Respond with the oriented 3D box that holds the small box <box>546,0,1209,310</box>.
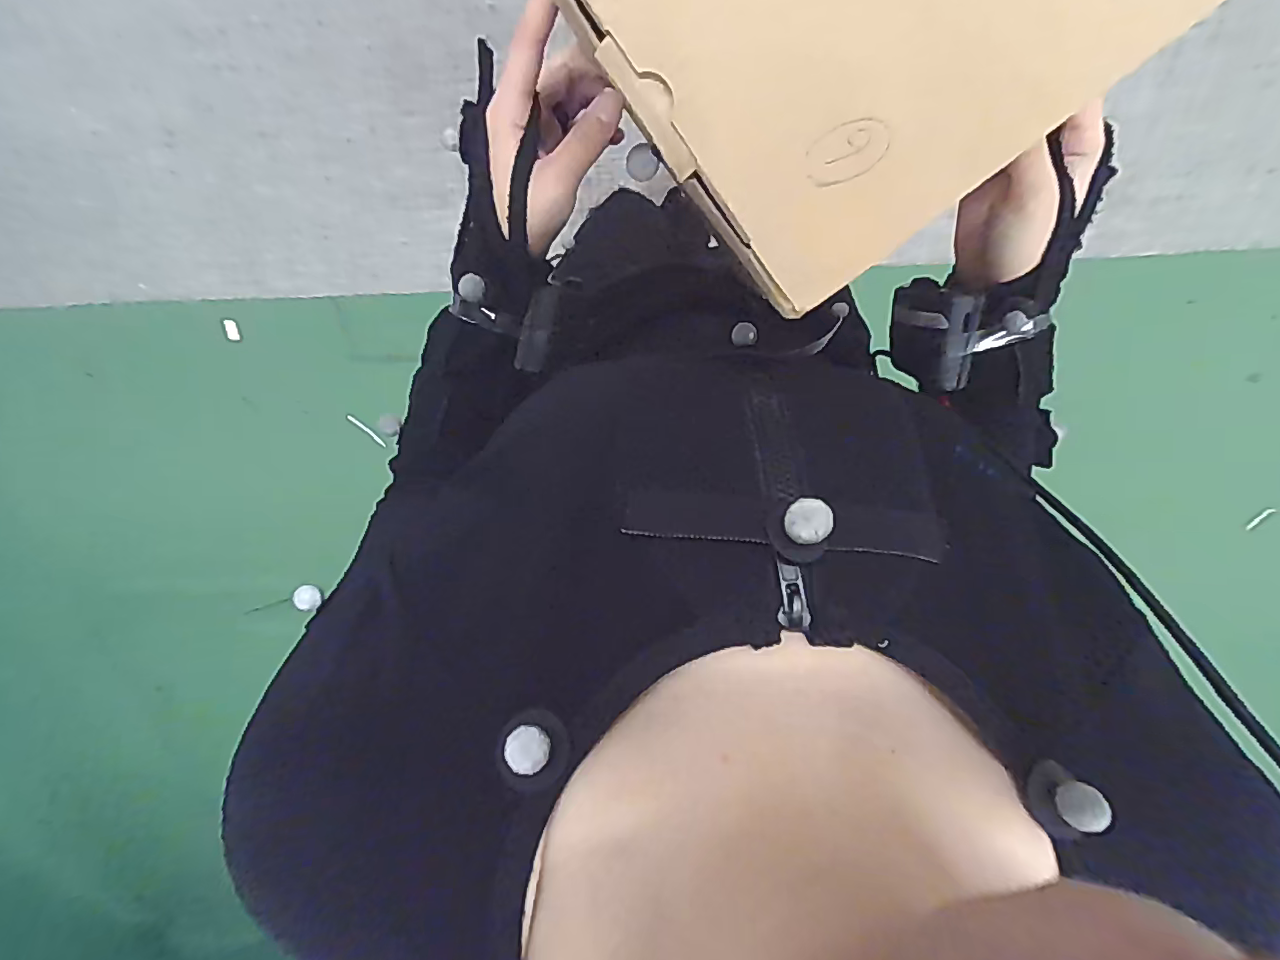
[{"bbox_3d":[0.072,-0.195,0.215,0.179,0.176,0.168,-35,107,19],"label":"small box"}]
